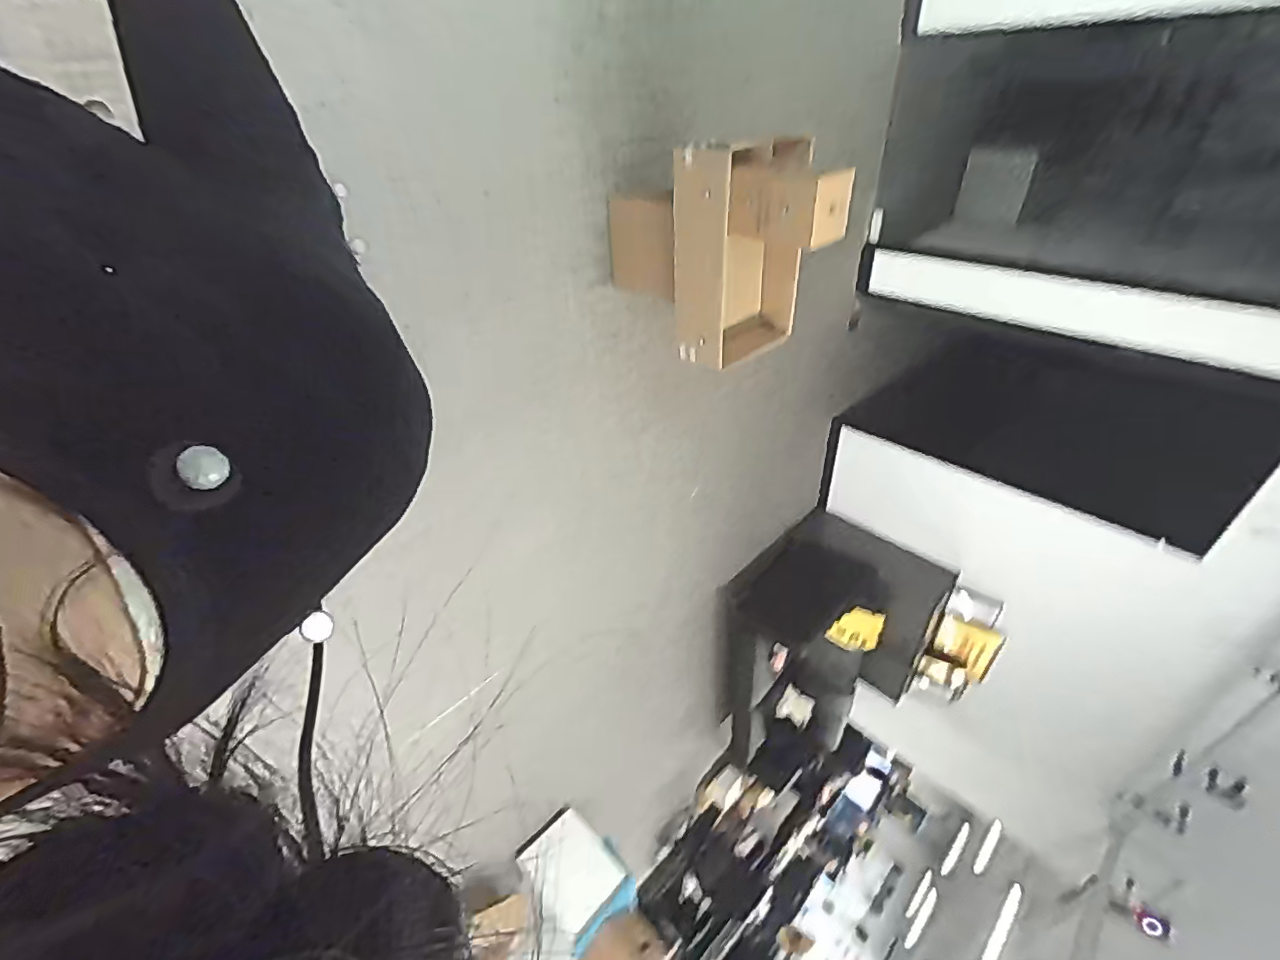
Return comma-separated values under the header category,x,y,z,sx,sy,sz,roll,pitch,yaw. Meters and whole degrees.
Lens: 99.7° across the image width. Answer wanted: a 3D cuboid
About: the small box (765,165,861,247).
category,x,y,z,sx,sy,sz,roll,pitch,yaw
small box,0.453,-0.731,1.436,0.179,0.176,0.168,-31,135,-32
